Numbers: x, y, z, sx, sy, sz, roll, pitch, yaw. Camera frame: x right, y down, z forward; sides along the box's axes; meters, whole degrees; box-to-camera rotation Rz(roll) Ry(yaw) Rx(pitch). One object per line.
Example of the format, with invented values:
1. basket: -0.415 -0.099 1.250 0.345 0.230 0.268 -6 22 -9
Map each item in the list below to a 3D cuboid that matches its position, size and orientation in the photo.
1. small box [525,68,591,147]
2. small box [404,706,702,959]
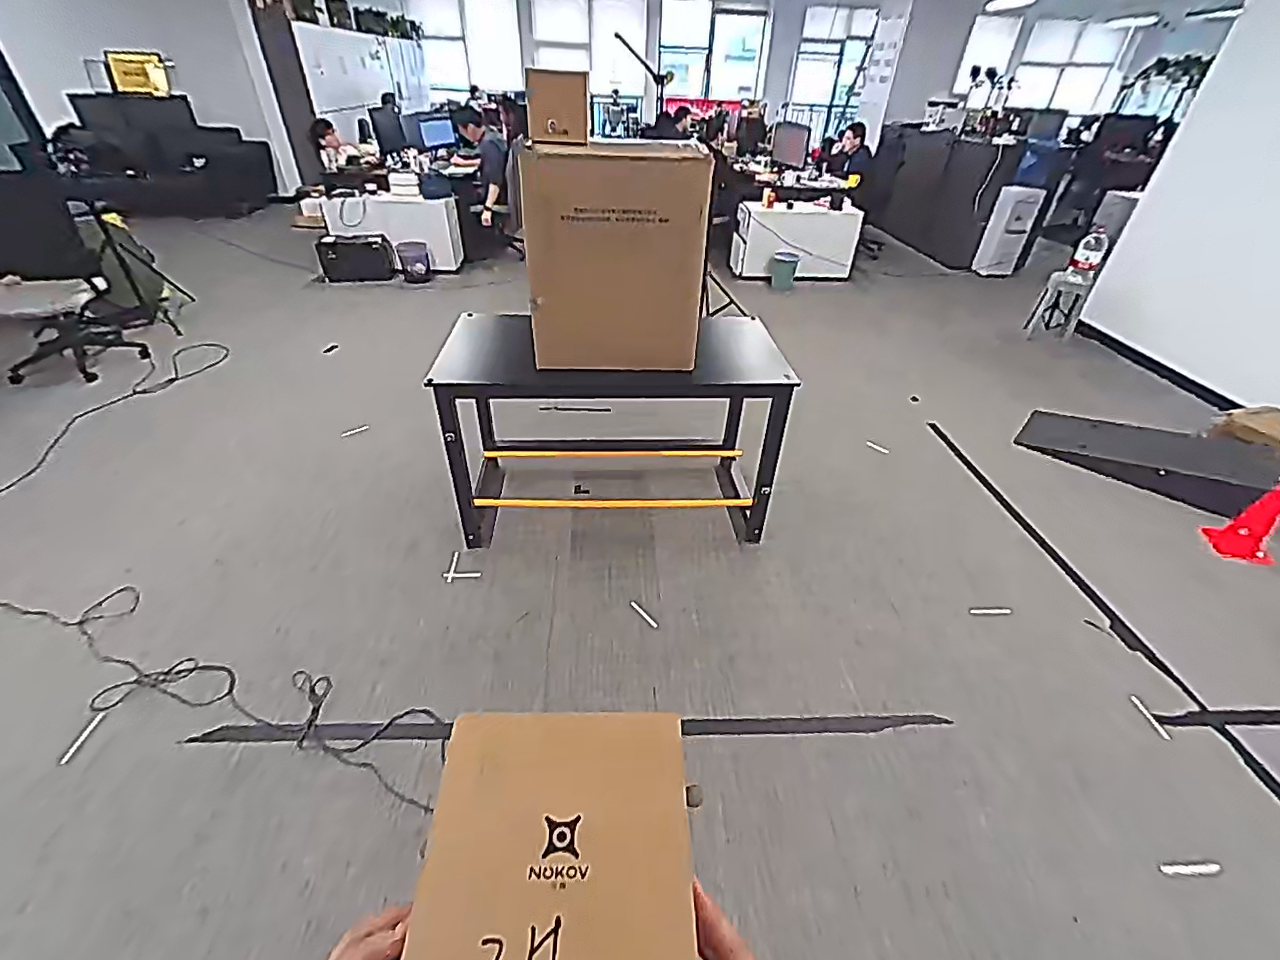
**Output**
1. small box: -0.226 -1.050 1.525 0.168 0.176 0.179 -1 37 -3
2. small box: -0.051 0.285 0.390 0.168 0.176 0.179 1 44 -2
